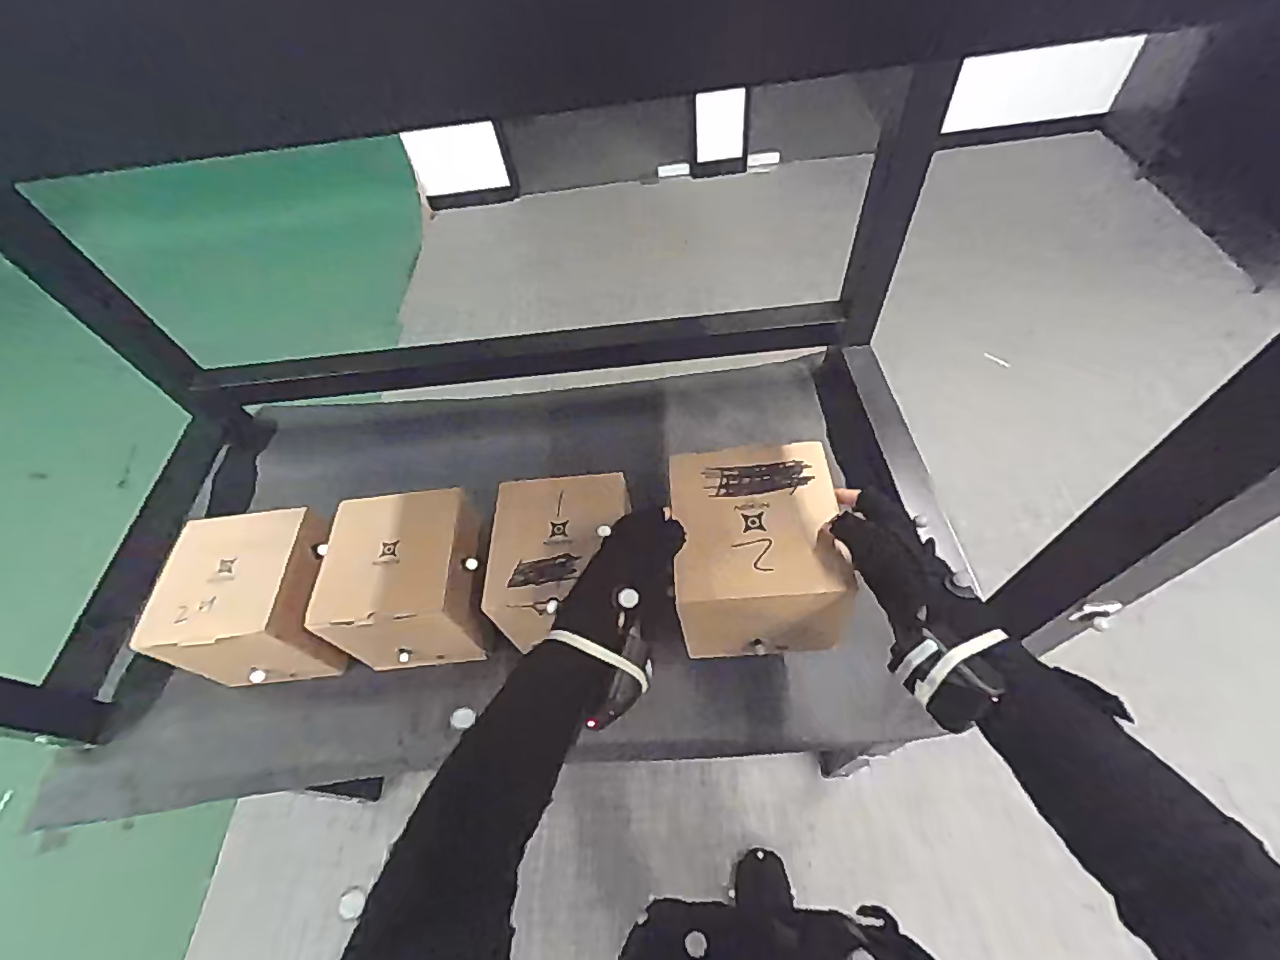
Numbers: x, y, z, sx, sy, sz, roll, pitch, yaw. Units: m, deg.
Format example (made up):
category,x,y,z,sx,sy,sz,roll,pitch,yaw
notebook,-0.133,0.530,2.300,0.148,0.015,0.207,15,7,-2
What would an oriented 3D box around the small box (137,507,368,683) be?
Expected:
category,x,y,z,sx,sy,sz,roll,pitch,yaw
small box,-0.502,0.160,0.737,0.168,0.176,0.179,-7,54,2
